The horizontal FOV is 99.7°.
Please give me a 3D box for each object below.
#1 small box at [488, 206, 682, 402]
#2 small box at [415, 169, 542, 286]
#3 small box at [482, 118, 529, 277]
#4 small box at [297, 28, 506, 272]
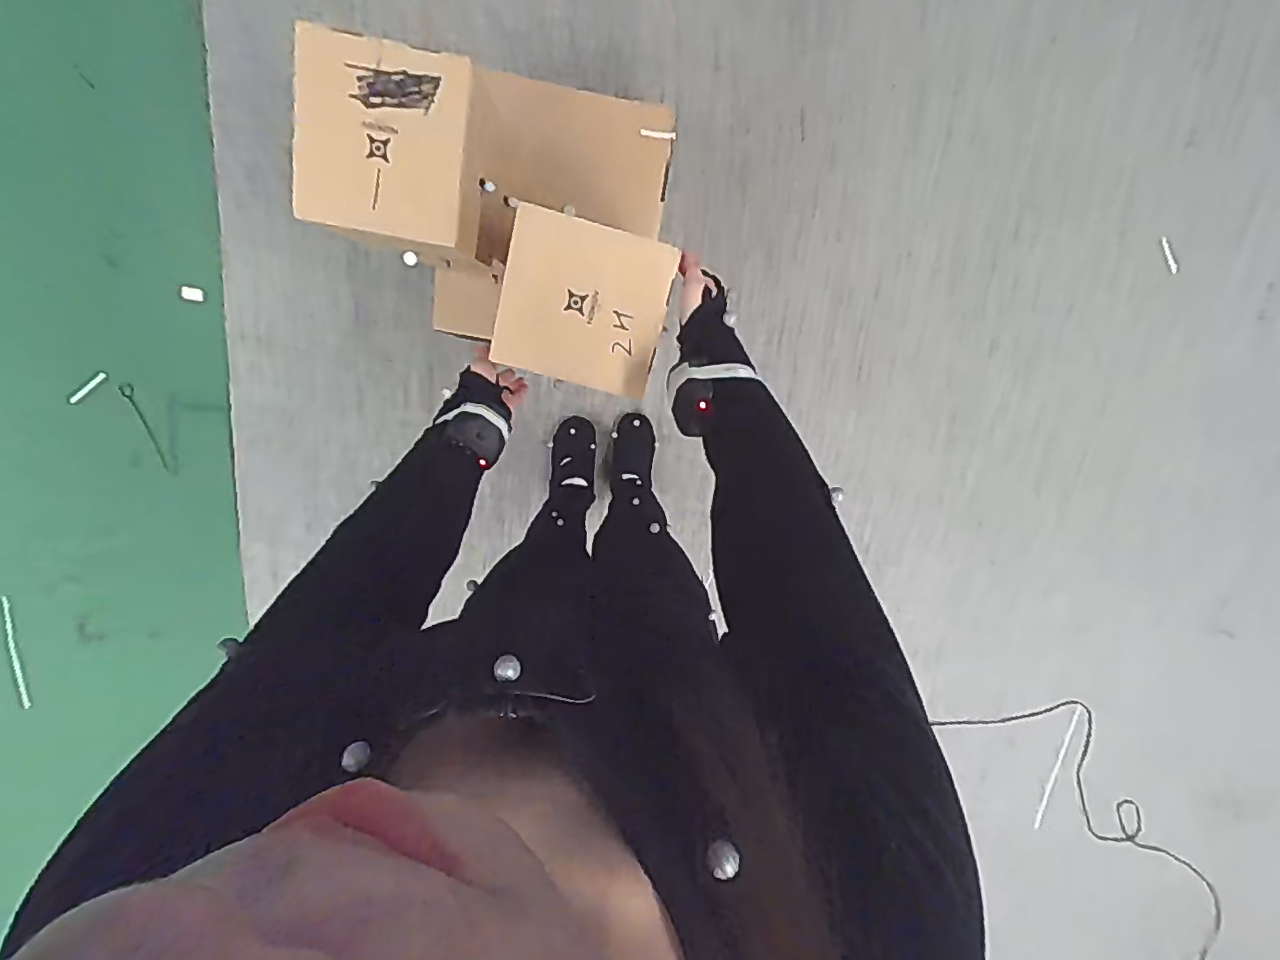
[{"bbox_3d":[-0.063,-0.201,0.650,0.179,0.176,0.168,14,104,-6],"label":"small box"},{"bbox_3d":[-0.270,-0.437,0.929,0.168,0.176,0.179,10,102,-4],"label":"small box"},{"bbox_3d":[-0.259,-0.402,0.770,0.168,0.176,0.179,10,104,-4],"label":"small box"},{"bbox_3d":[-0.256,-0.351,0.614,0.168,0.176,0.179,10,104,-4],"label":"small box"}]
